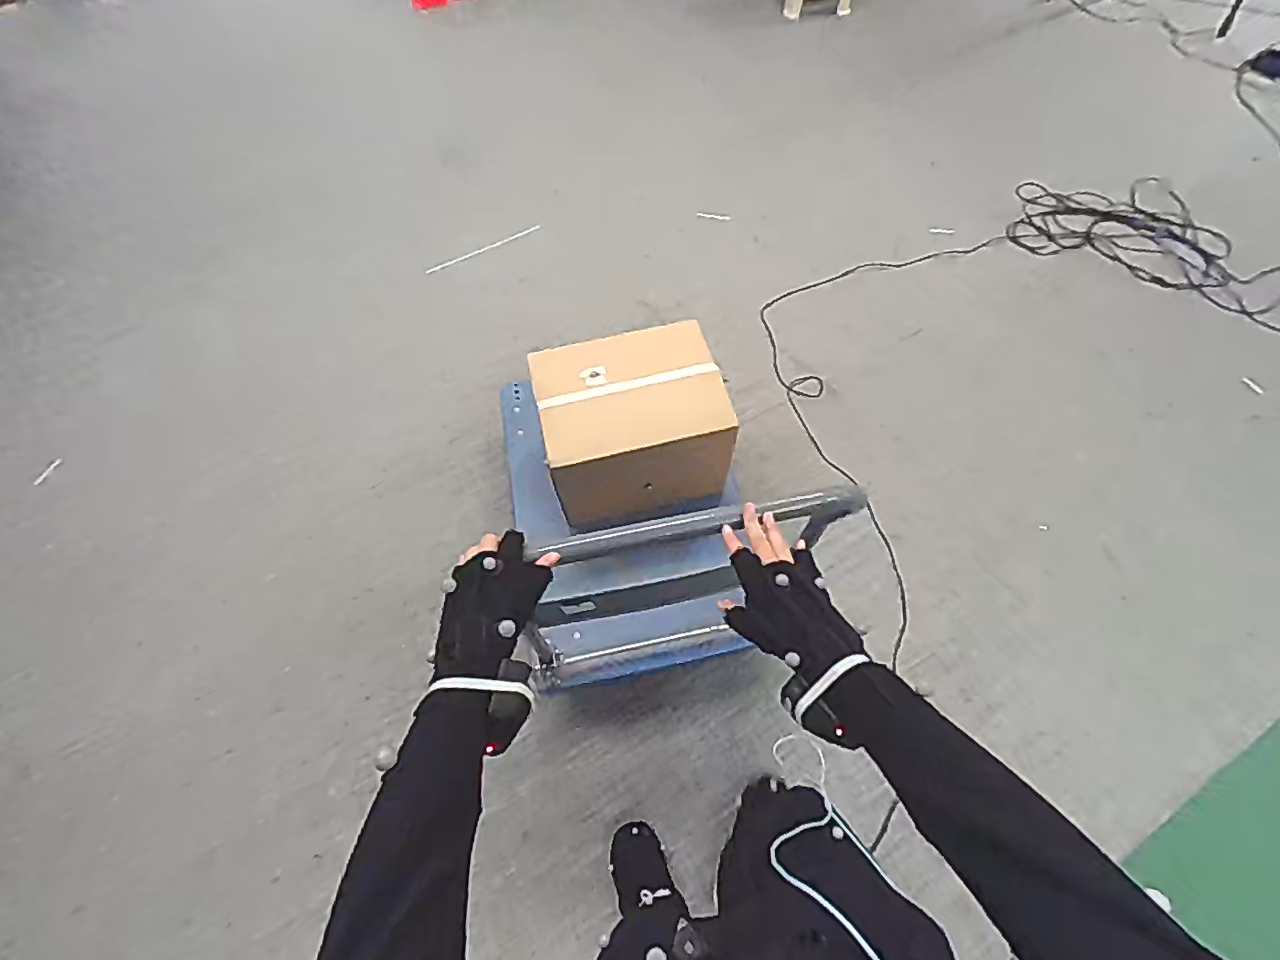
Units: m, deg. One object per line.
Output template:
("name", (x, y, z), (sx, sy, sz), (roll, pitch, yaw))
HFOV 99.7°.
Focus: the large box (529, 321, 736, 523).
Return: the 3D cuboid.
("large box", (-0.019, -0.129, 1.315), (0.408, 0.320, 0.320), (-13, 63, -4))
